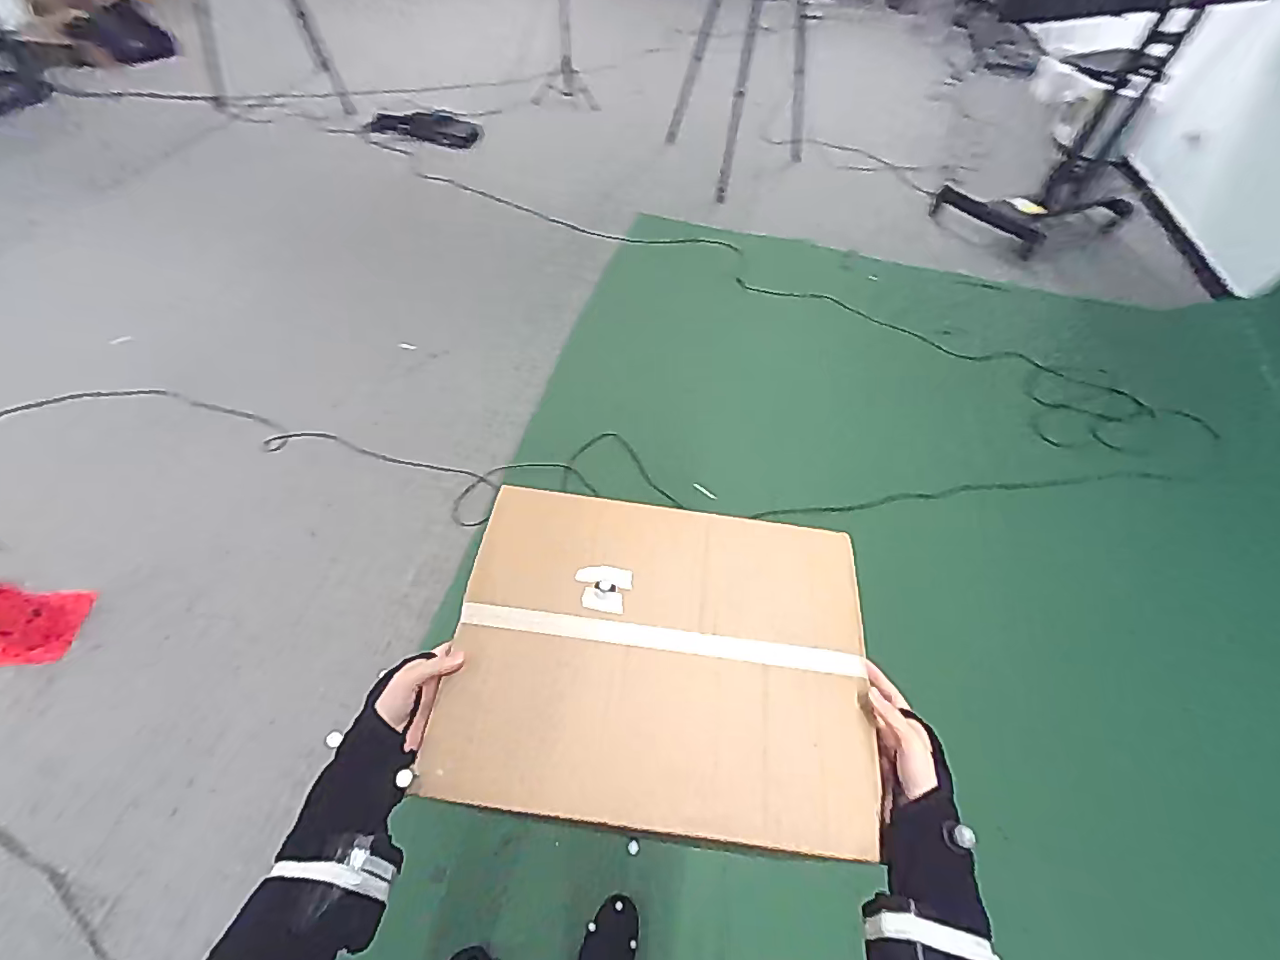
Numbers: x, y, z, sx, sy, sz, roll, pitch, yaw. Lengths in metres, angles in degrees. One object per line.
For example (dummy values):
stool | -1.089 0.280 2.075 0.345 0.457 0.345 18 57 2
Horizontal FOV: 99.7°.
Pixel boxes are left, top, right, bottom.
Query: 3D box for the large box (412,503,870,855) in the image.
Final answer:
large box | 0.007 0.255 0.667 0.408 0.320 0.320 7 54 1
